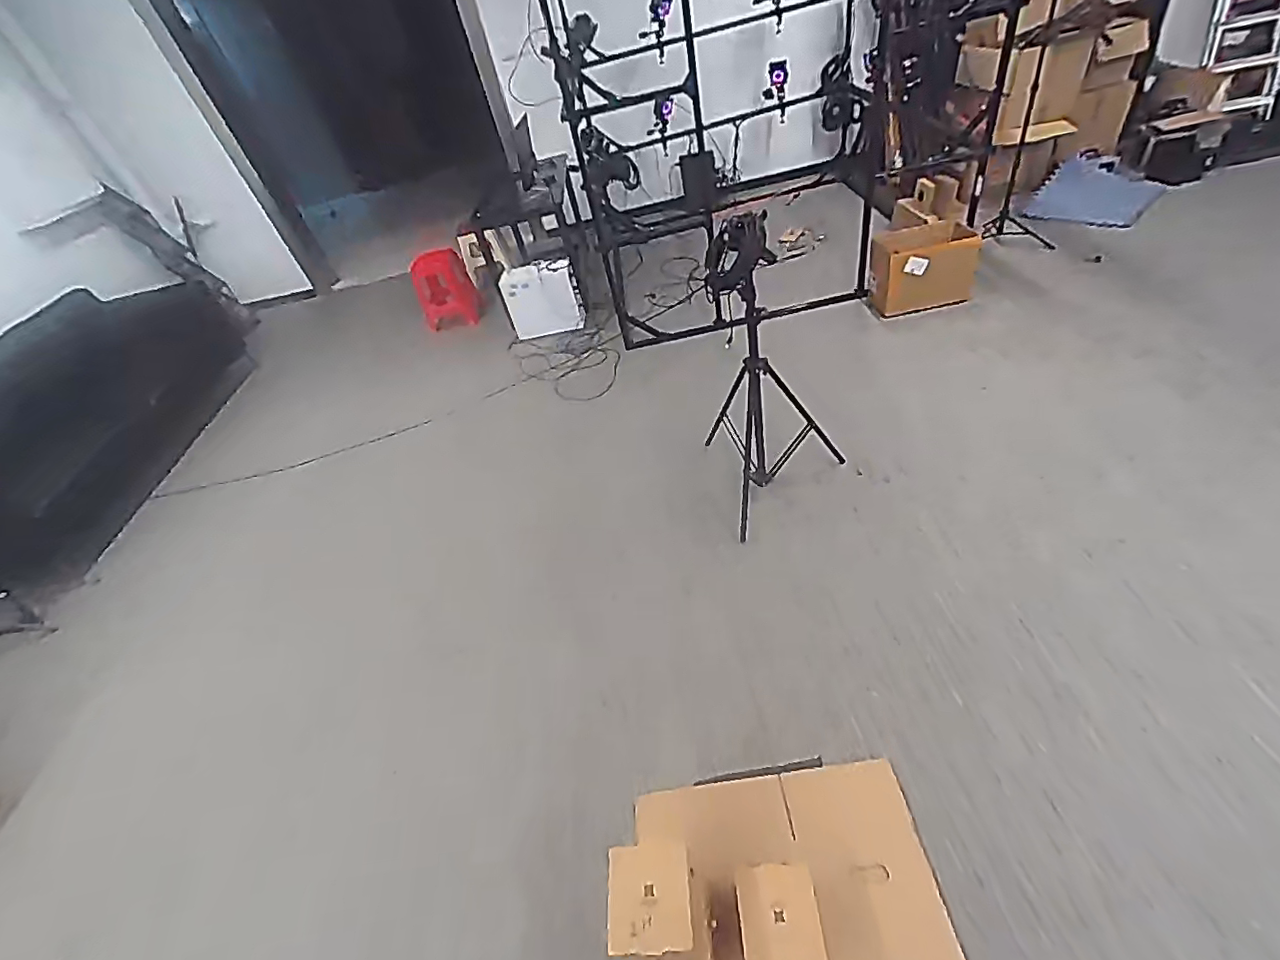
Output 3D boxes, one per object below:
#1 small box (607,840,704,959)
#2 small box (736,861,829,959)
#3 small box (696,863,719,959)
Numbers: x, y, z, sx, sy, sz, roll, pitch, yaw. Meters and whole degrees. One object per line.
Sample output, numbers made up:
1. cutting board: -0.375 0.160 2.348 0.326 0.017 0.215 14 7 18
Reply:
1. small box: 0.034 0.867 1.110 0.168 0.176 0.179 -10 43 8
2. small box: 0.304 0.959 1.177 0.168 0.176 0.179 -8 43 7
3. small box: 0.078 0.987 1.215 0.168 0.176 0.179 -10 43 7
